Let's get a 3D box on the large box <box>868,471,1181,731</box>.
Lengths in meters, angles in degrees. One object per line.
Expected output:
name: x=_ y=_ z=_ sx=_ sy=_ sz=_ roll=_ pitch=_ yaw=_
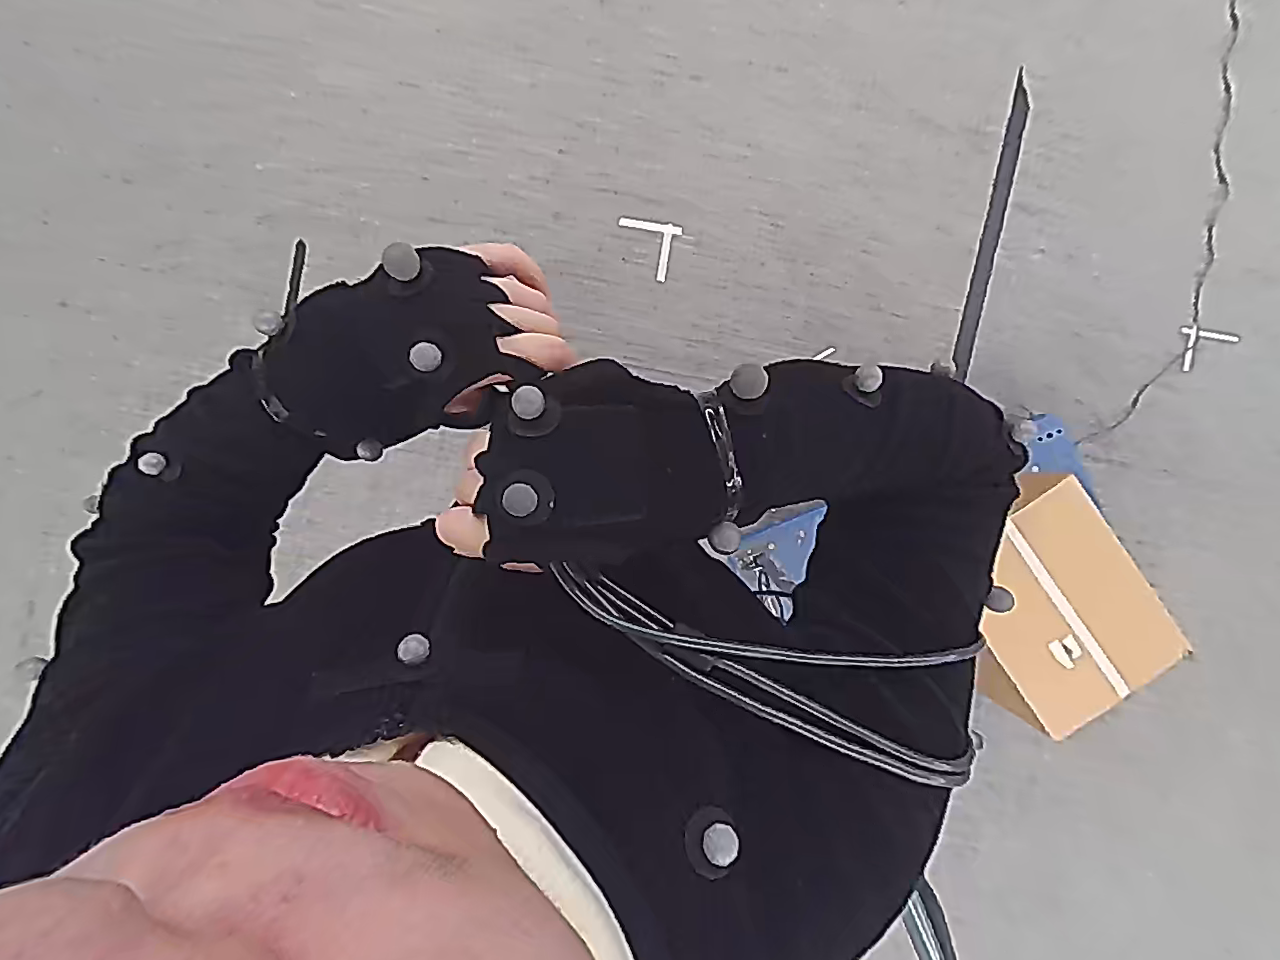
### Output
large box: x=0.780 y=0.226 z=1.161 sx=0.320 sy=0.320 sz=0.408 roll=-34 pitch=91 yaw=2
